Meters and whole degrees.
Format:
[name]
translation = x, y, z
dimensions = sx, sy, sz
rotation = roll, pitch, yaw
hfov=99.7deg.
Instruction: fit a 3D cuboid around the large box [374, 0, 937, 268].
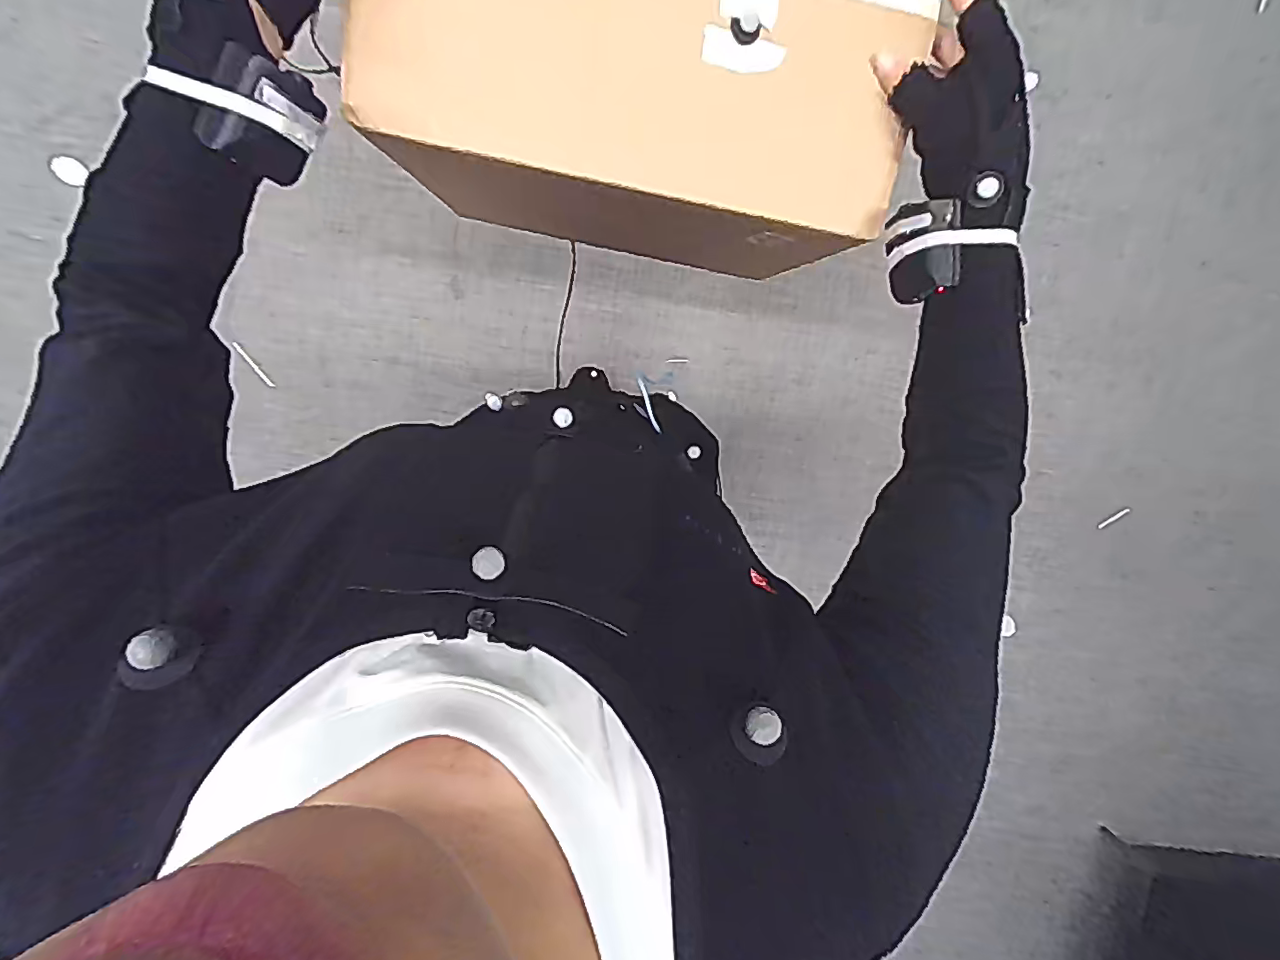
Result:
[large box]
translation = 0.011, -0.416, 0.520
dimensions = 0.408, 0.320, 0.320
rotation = 8, 105, -7
